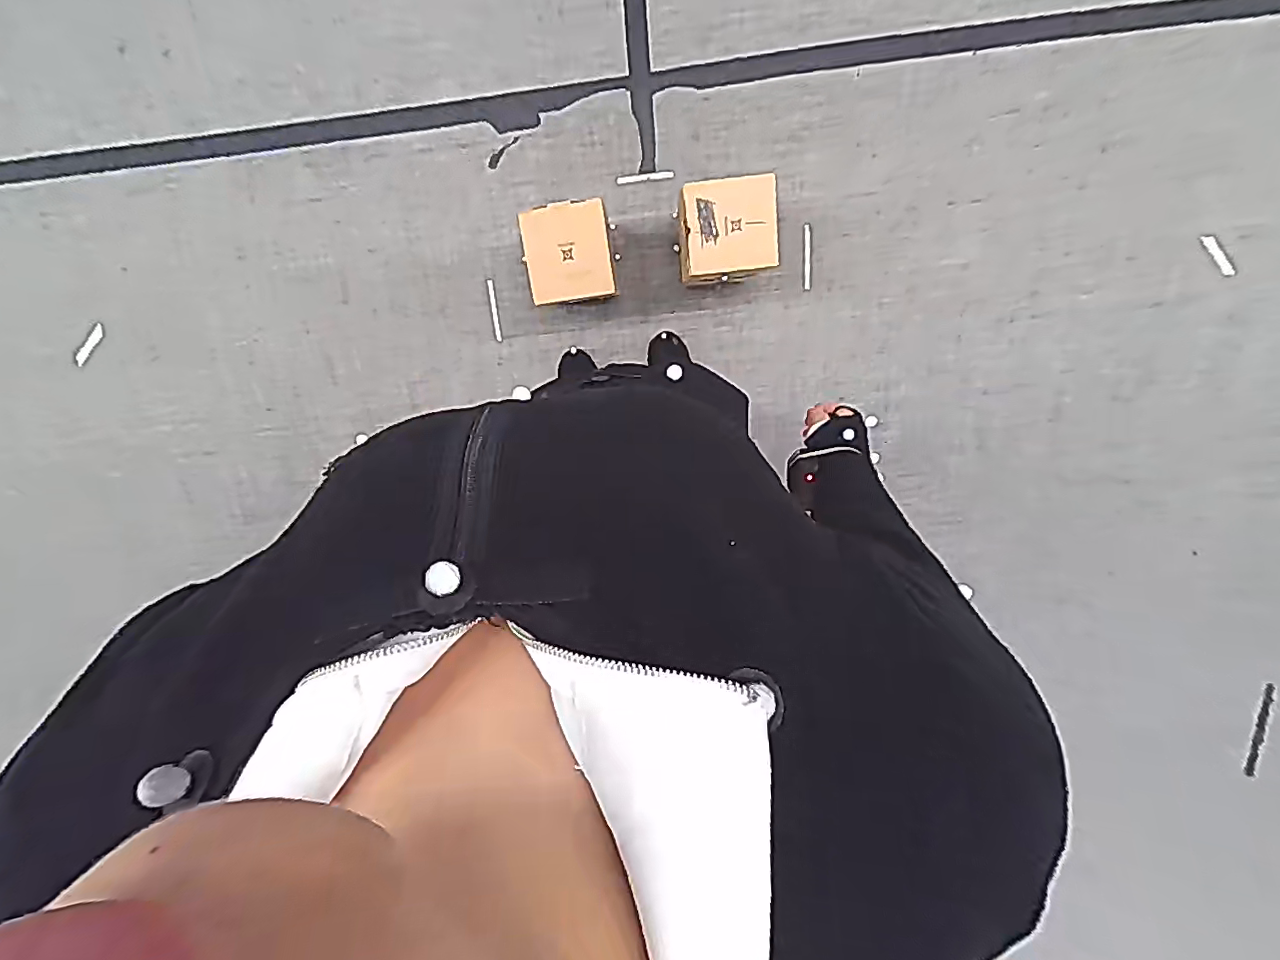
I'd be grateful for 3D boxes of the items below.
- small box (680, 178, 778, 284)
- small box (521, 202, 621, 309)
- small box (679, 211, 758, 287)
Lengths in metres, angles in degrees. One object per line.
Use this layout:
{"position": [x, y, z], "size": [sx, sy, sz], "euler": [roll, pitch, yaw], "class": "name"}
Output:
{"position": [0.176, -0.501, 1.110], "size": [0.179, 0.176, 0.168], "euler": [-6, 106, 1], "class": "small box"}
{"position": [-0.136, -0.458, 1.126], "size": [0.168, 0.176, 0.179], "euler": [-8, 108, 4], "class": "small box"}
{"position": [0.180, -0.549, 1.268], "size": [0.168, 0.176, 0.179], "euler": [-4, 108, 0], "class": "small box"}
